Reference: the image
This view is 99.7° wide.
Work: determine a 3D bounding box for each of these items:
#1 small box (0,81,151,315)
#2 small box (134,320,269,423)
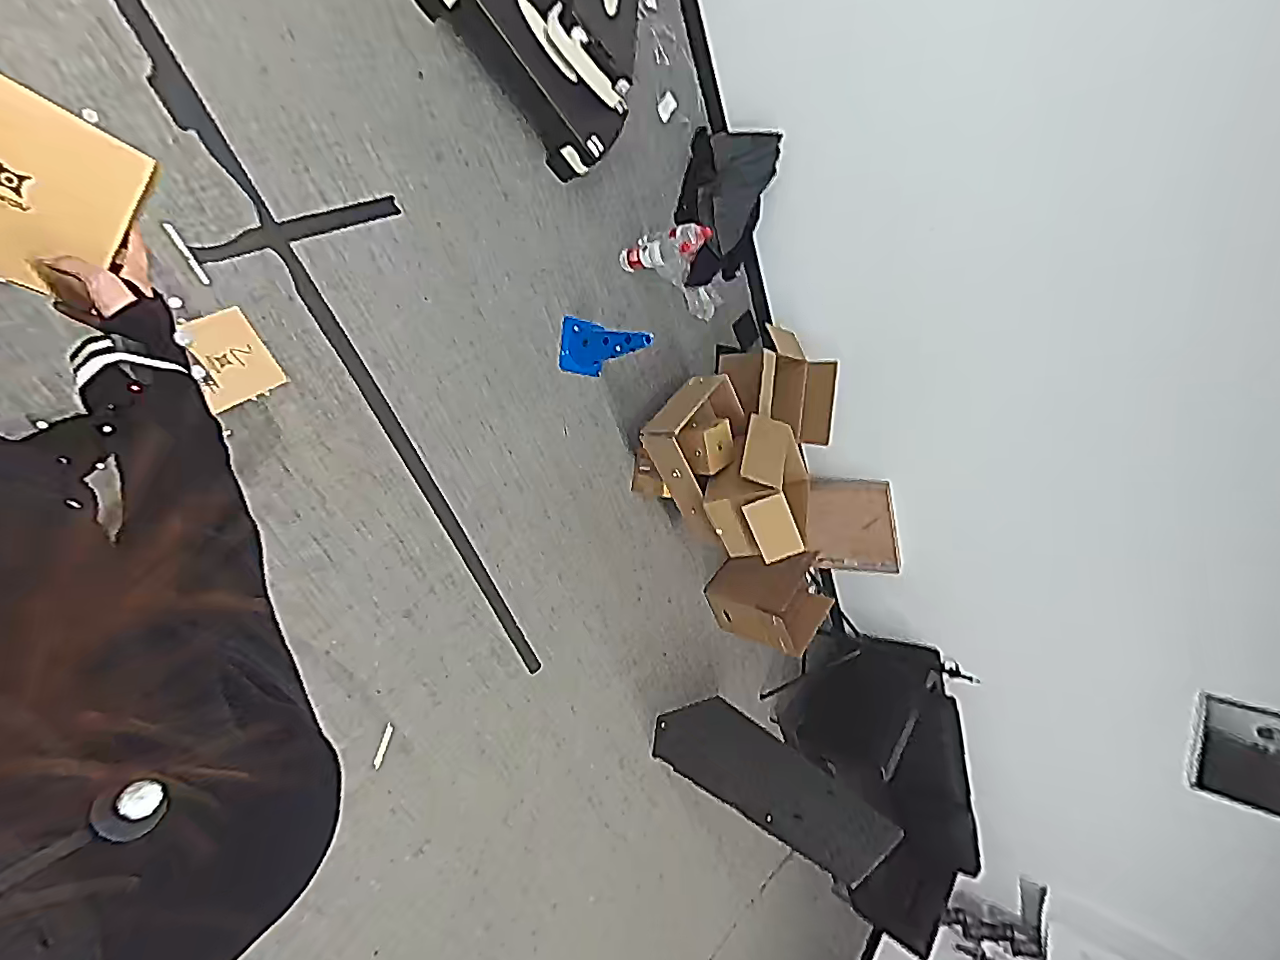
[{"bbox_3d":[-0.643,-0.301,0.557,0.168,0.176,0.179,24,96,-45],"label":"small box"},{"bbox_3d":[-0.991,-0.245,1.221,0.179,0.176,0.168,-42,123,-32],"label":"small box"}]
